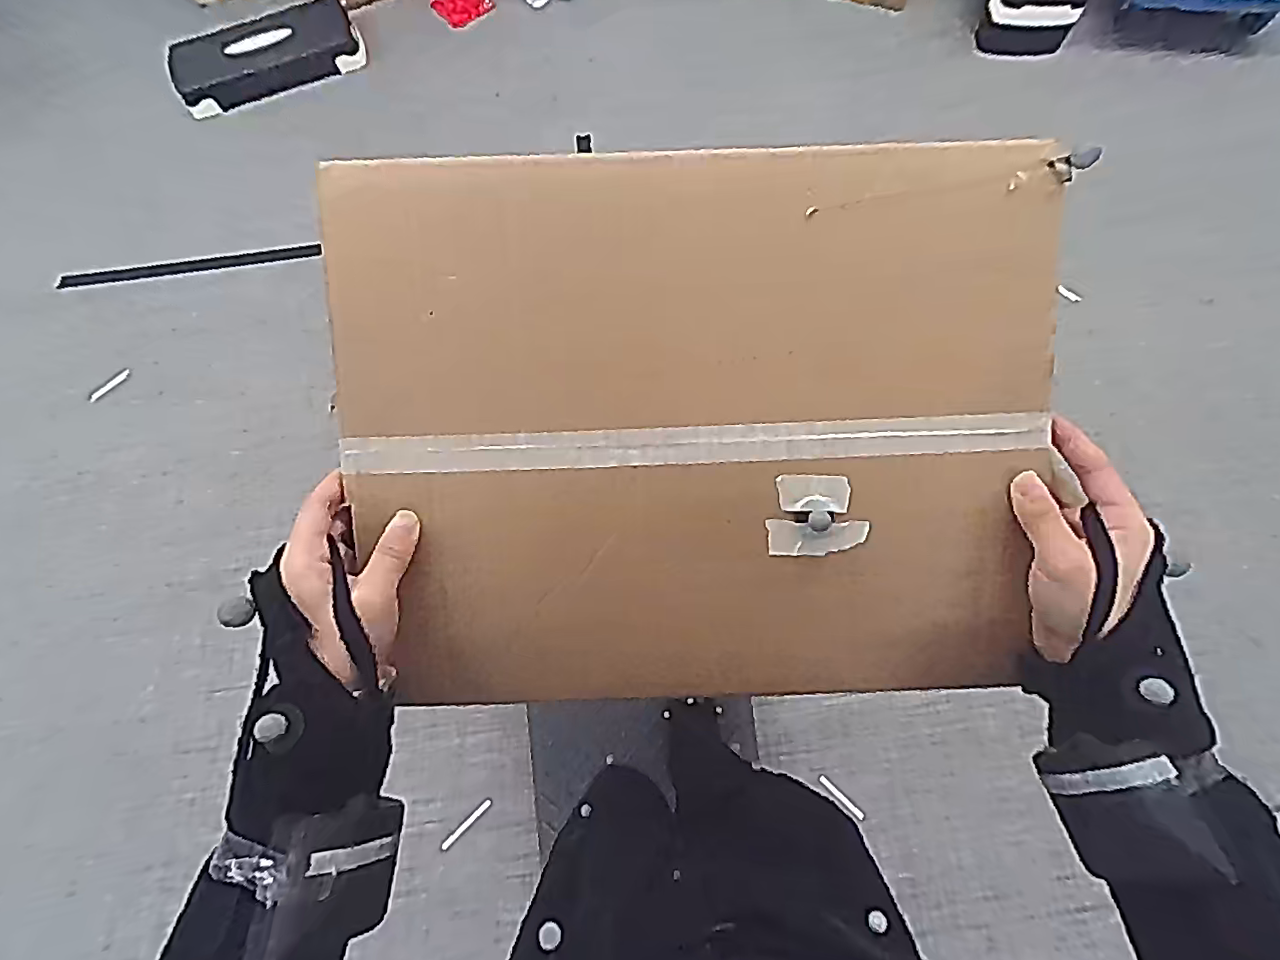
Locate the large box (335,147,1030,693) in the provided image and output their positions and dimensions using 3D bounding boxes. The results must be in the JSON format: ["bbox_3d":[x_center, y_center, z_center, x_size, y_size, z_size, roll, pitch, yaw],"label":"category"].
[{"bbox_3d":[0.028,-0.045,0.472,0.408,0.320,0.320,-3,98,0],"label":"large box"}]
